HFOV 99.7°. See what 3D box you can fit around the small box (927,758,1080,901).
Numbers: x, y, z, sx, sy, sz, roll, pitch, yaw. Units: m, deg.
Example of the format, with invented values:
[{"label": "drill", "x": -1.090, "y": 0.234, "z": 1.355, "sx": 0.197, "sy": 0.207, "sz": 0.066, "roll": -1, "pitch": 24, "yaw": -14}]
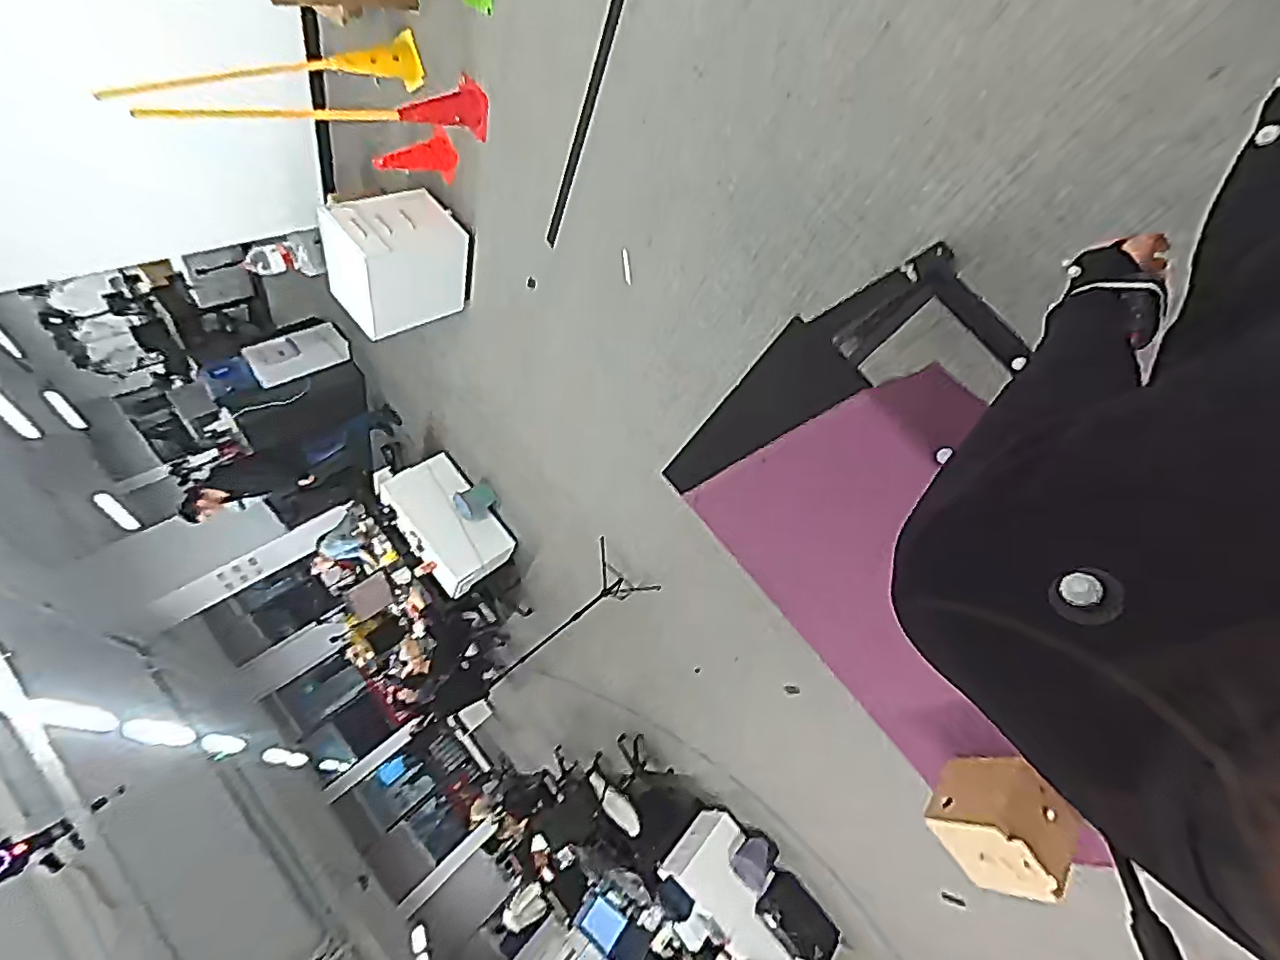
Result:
[{"label": "small box", "x": 0.731, "y": 0.687, "z": 1.089, "sx": 0.168, "sy": 0.176, "sz": 0.179, "roll": 51, "pitch": 145, "yaw": 6}]
